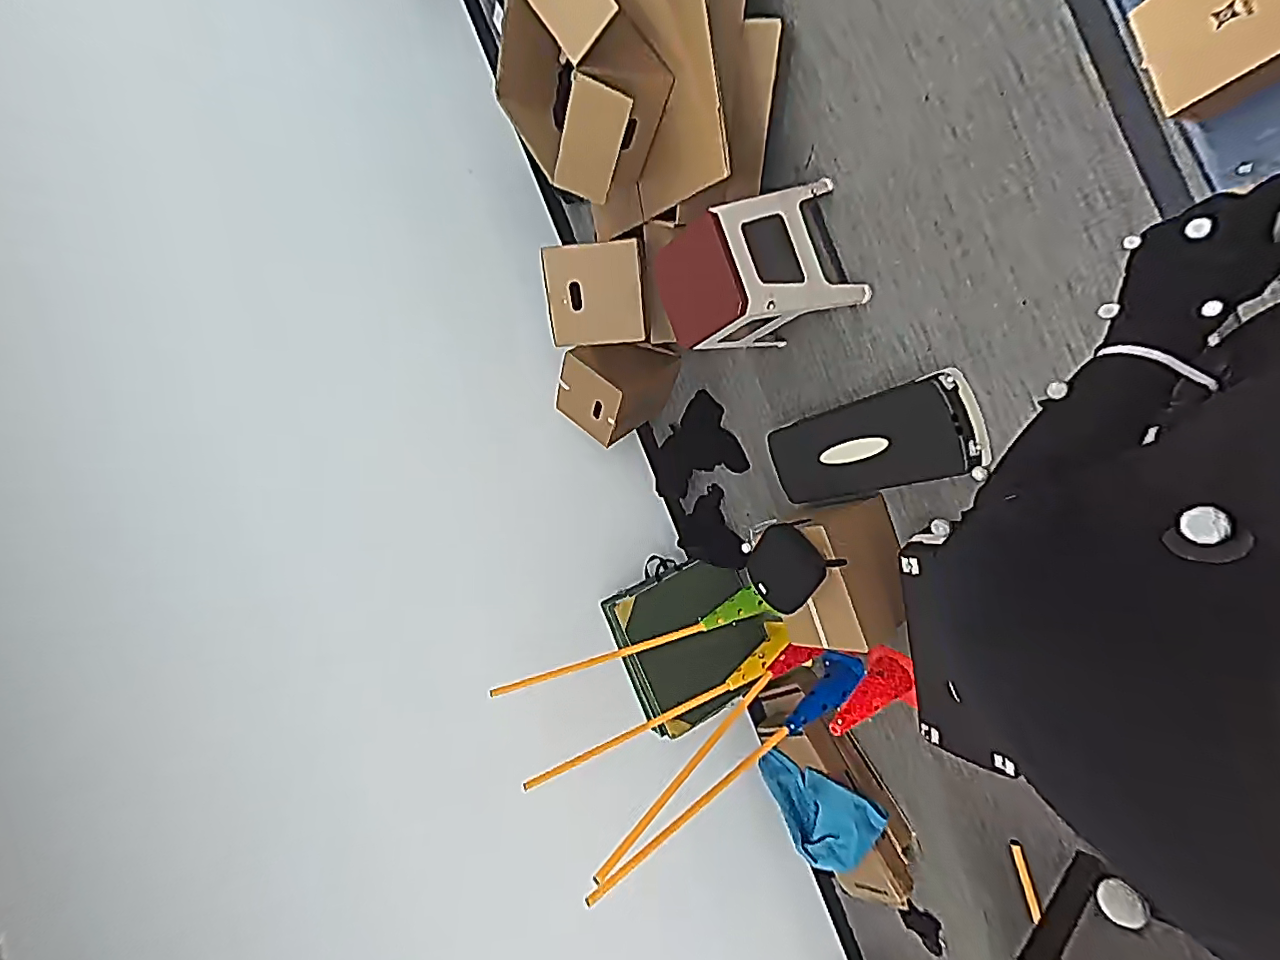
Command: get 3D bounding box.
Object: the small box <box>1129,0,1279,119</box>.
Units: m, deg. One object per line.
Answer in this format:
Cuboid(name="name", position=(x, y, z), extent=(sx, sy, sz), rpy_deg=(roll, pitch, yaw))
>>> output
Cuboid(name="small box", position=(0.838, -0.638, 0.750), extent=(0.179, 0.176, 0.168), rpy_deg=(-21, 90, 57))
